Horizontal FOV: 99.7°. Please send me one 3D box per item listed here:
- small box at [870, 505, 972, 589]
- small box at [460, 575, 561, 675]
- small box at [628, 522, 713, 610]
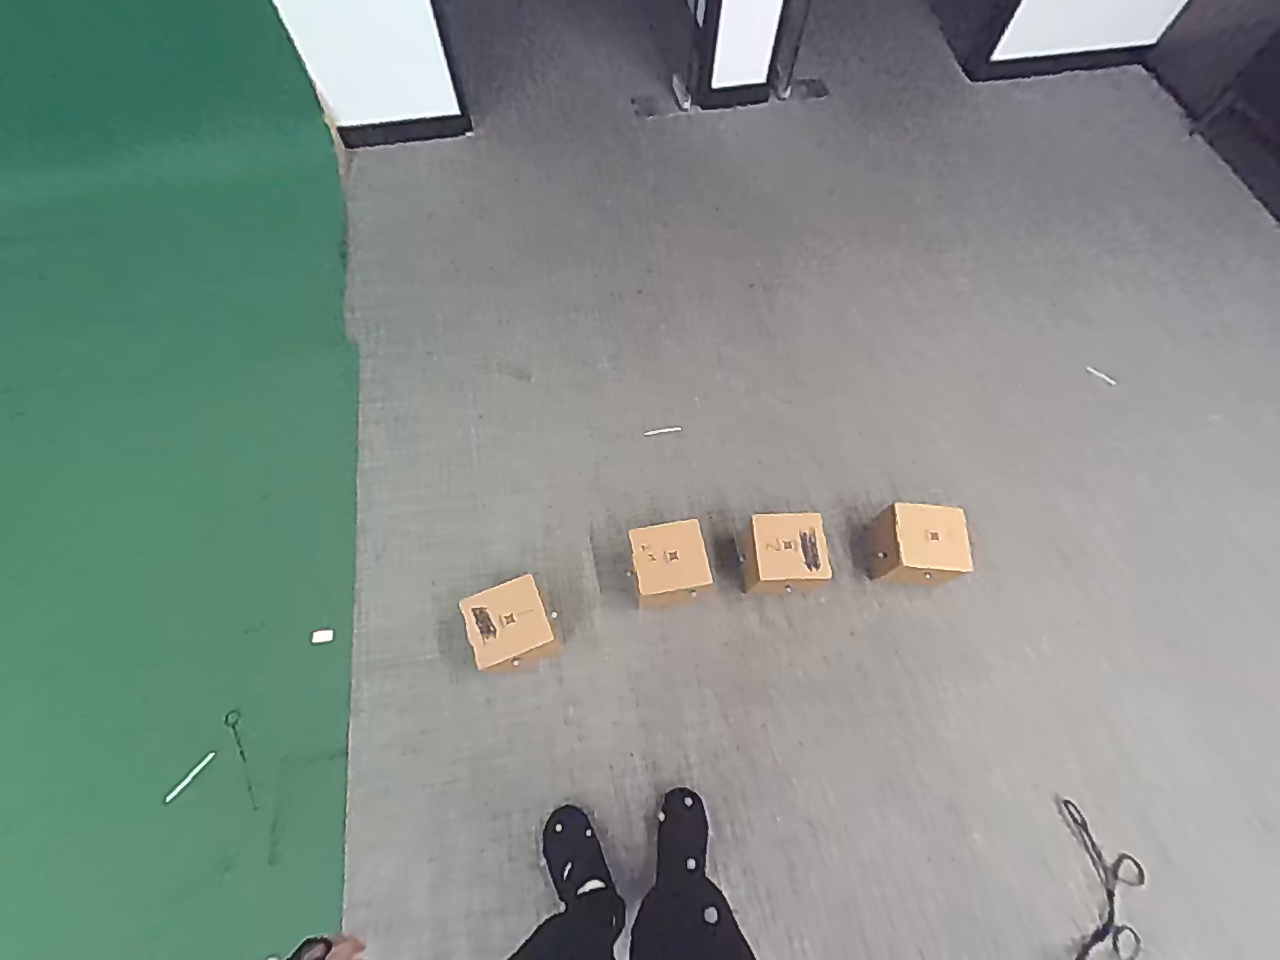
[{"bbox_3d":[0.706,0.176,1.385,0.179,0.176,0.168,6,66,0],"label":"small box"},{"bbox_3d":[-0.301,0.350,1.282,0.179,0.176,0.168,-20,68,-11],"label":"small box"},{"bbox_3d":[0.068,0.218,1.349,0.179,0.176,0.168,-9,66,-5],"label":"small box"}]
